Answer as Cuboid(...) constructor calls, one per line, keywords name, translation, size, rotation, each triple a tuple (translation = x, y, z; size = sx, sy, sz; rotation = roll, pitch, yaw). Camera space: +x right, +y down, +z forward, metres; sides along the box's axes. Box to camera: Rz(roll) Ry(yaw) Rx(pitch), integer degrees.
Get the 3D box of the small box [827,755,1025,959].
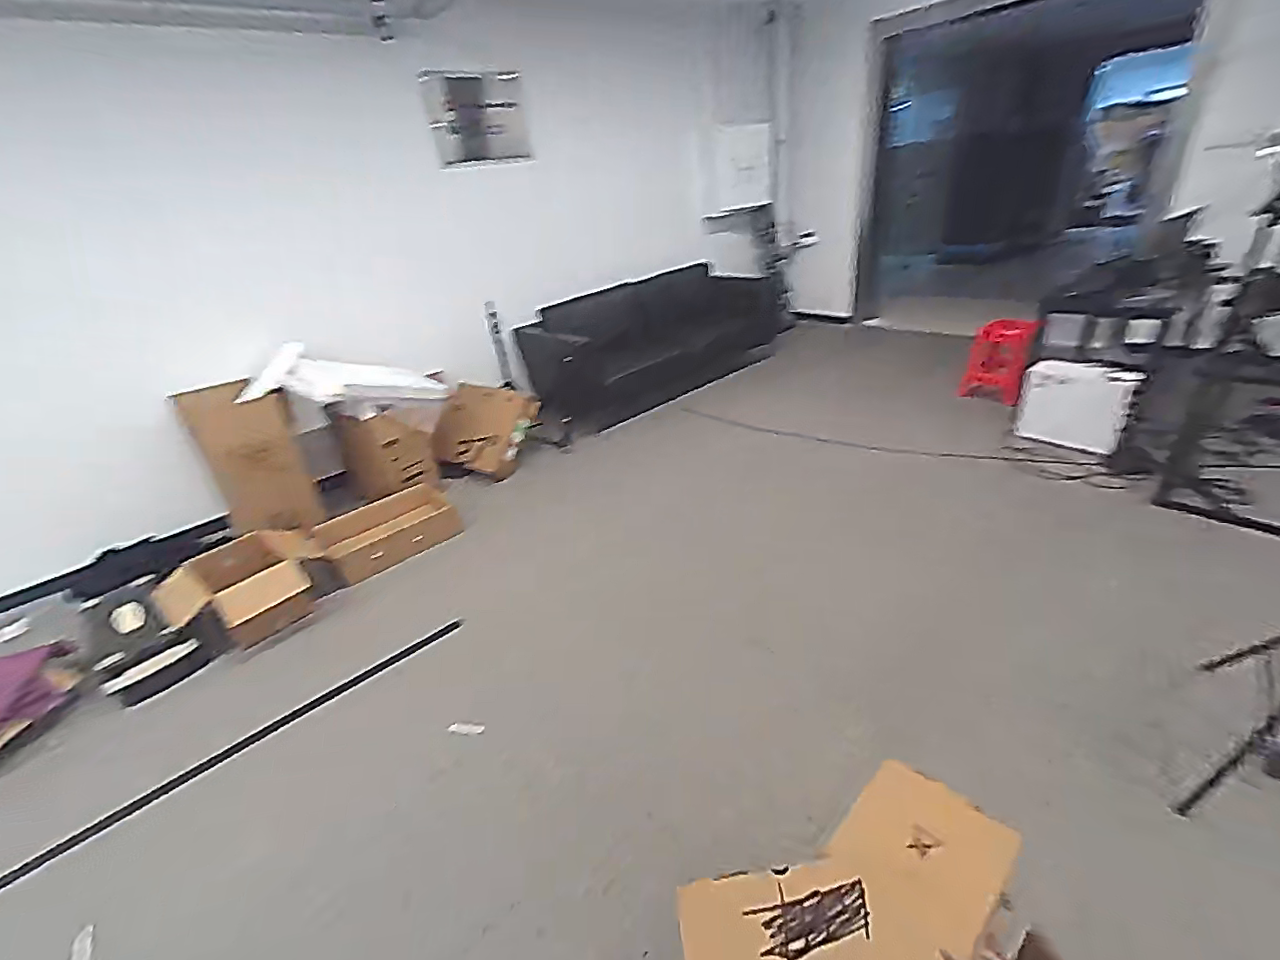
Cuboid(name="small box", translation=(0.357, 0.511, 0.694), size=(0.179, 0.176, 0.168), rotation=(-31, 34, -31))
